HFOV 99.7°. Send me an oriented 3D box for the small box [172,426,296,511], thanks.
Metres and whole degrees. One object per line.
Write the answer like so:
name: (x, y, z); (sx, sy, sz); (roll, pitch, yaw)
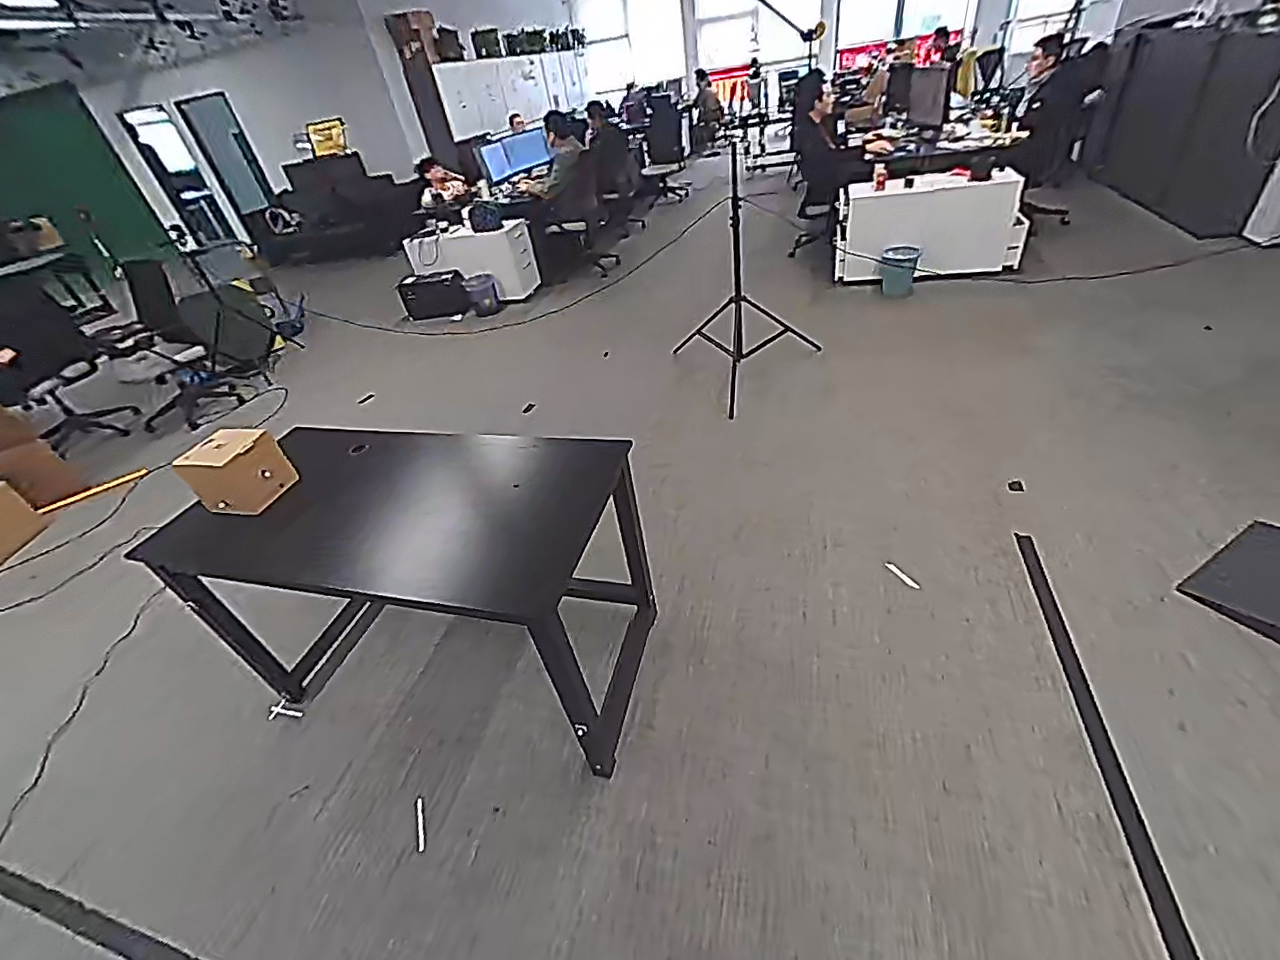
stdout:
small box: (-1.098, -0.031, 1.481); (0.179, 0.176, 0.168); (3, 39, 15)
